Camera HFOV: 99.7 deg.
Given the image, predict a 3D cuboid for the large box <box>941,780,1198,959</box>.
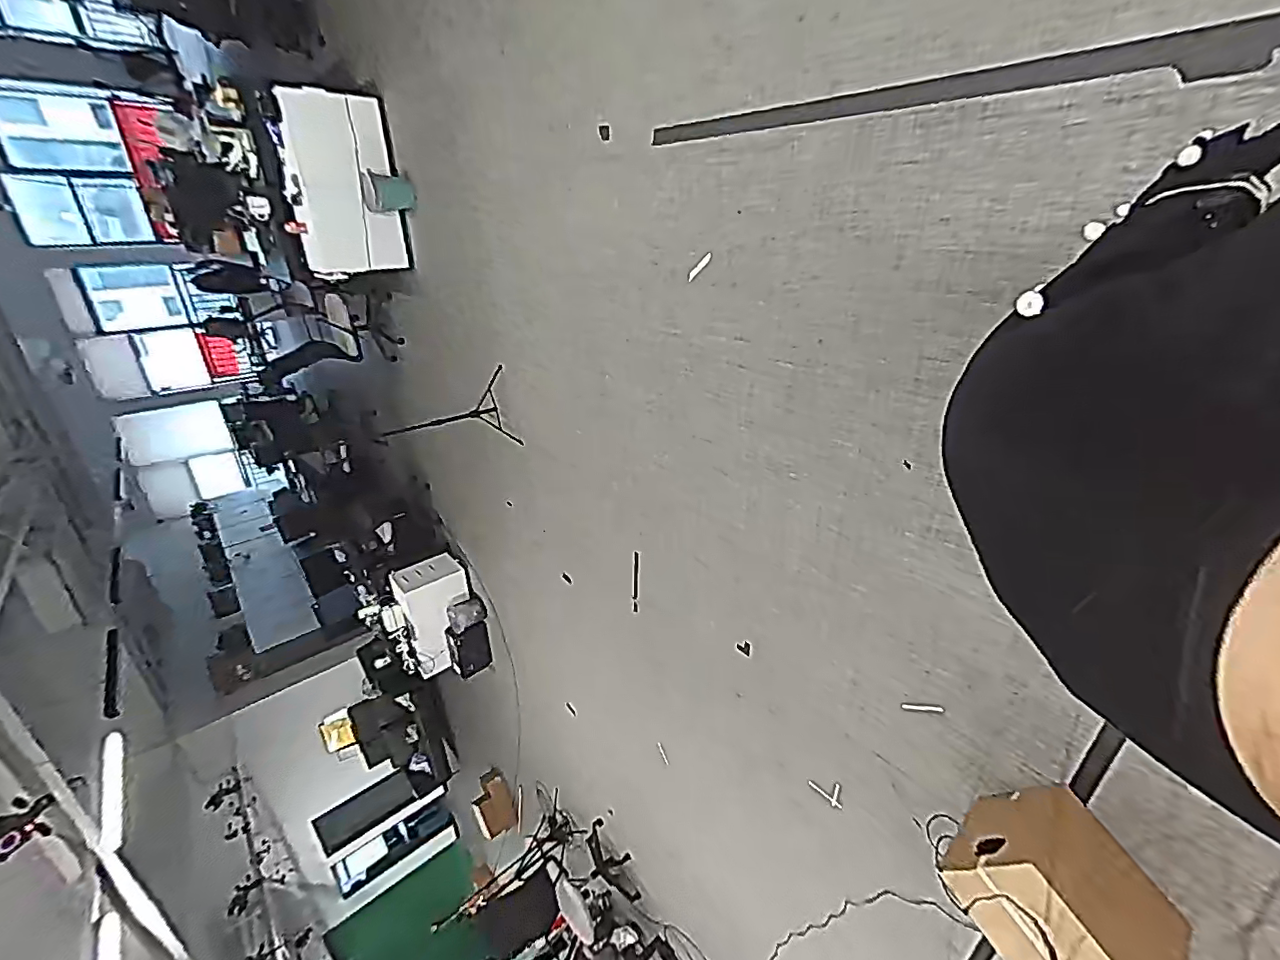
[{"bbox_3d":[1.129,1.101,1.444,0.408,0.320,0.320,54,140,20],"label":"large box"}]
